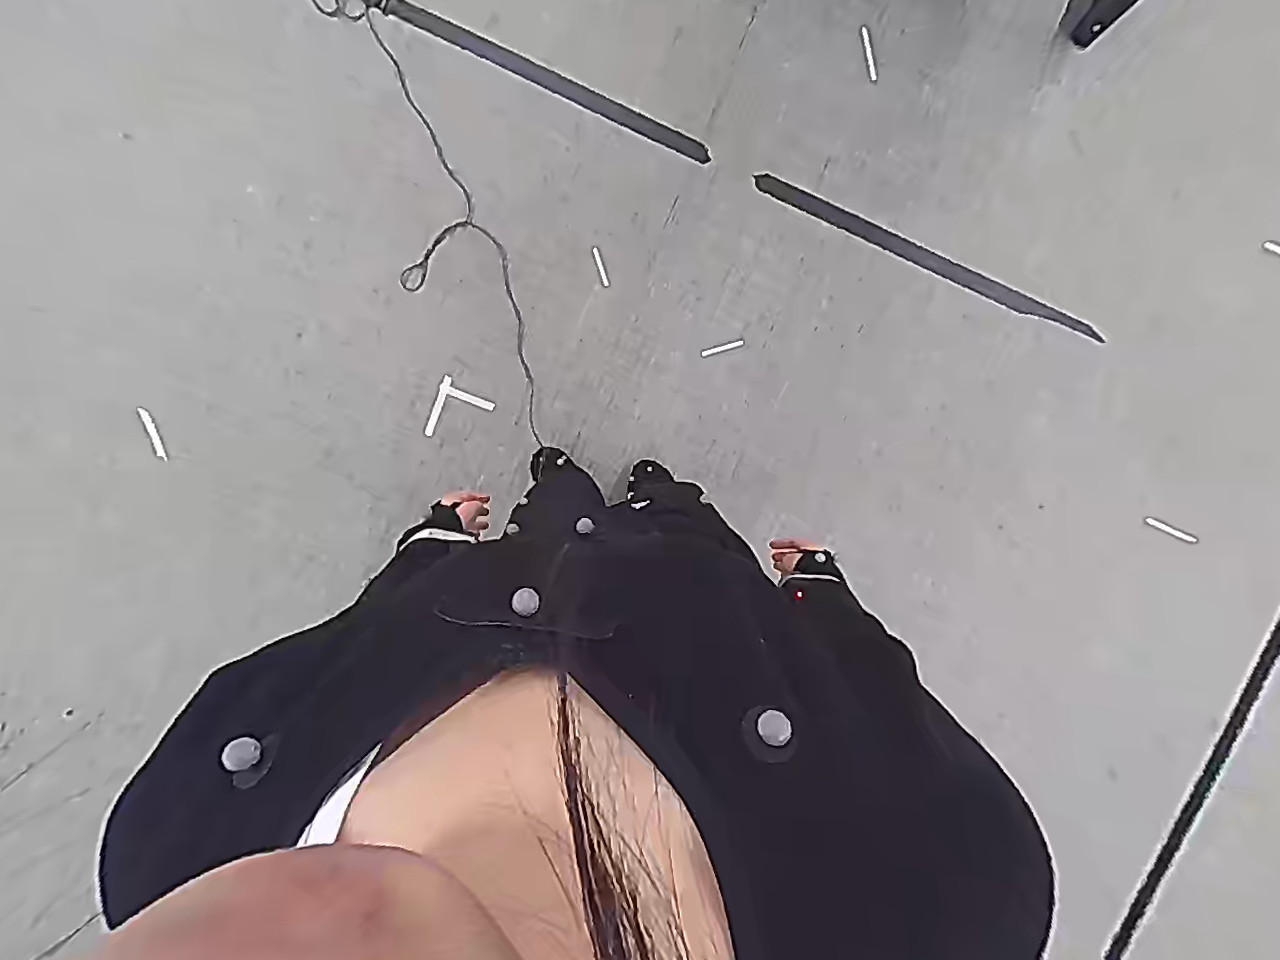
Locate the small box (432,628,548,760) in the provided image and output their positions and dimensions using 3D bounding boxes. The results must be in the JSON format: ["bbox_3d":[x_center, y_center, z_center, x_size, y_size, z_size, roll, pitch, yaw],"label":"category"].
[{"bbox_3d":[-0.304,0.441,1.138,0.168,0.176,0.179,20,92,-2],"label":"small box"}]
